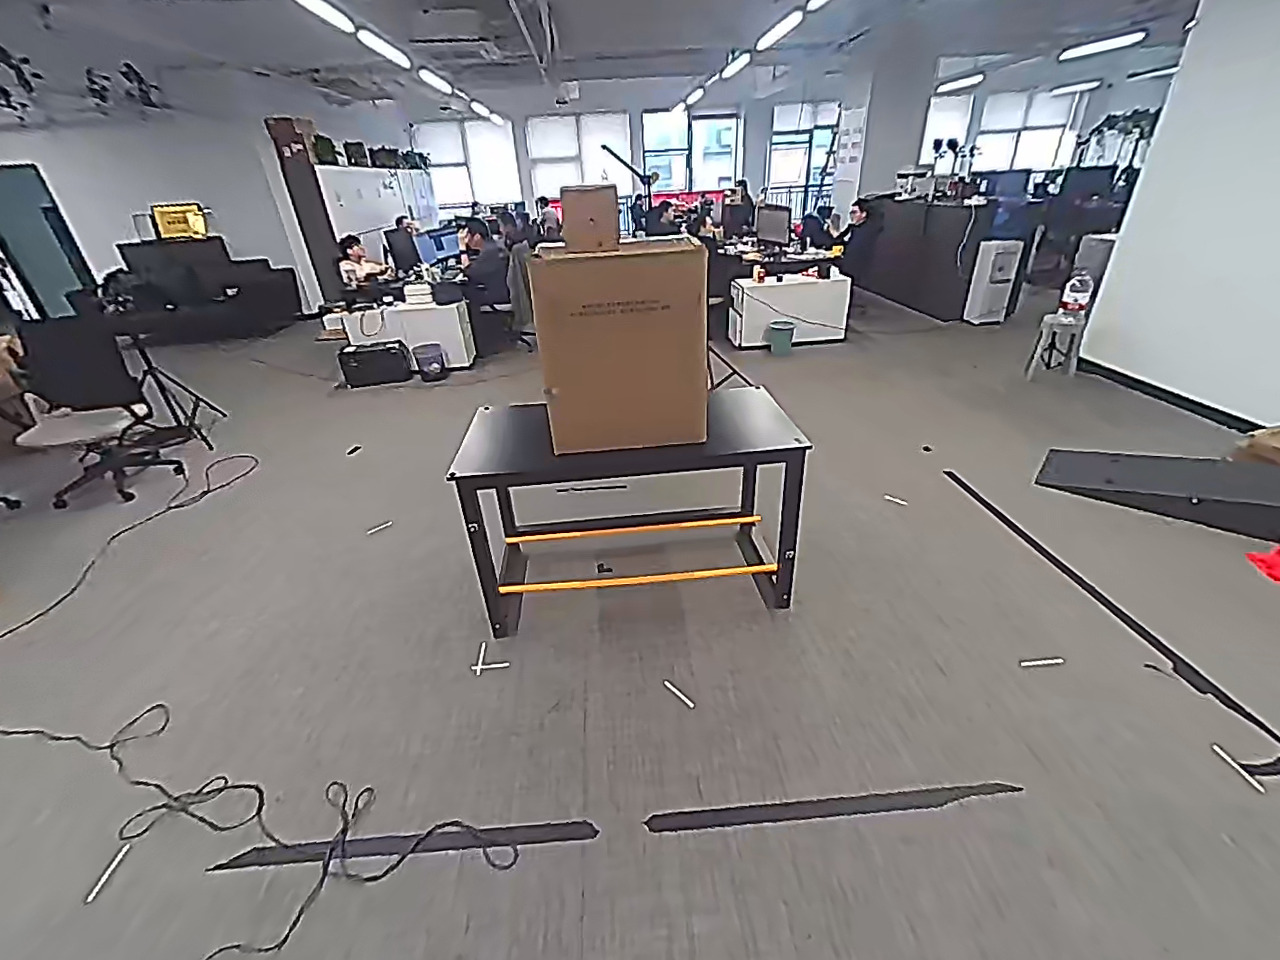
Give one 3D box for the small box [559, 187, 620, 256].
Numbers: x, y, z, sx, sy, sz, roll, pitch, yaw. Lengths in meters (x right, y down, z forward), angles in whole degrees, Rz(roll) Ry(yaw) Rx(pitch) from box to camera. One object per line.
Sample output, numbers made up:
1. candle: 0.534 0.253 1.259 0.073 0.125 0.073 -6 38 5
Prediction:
1. small box: -0.150 -0.781 1.639 0.168 0.176 0.179 -4 32 -2
